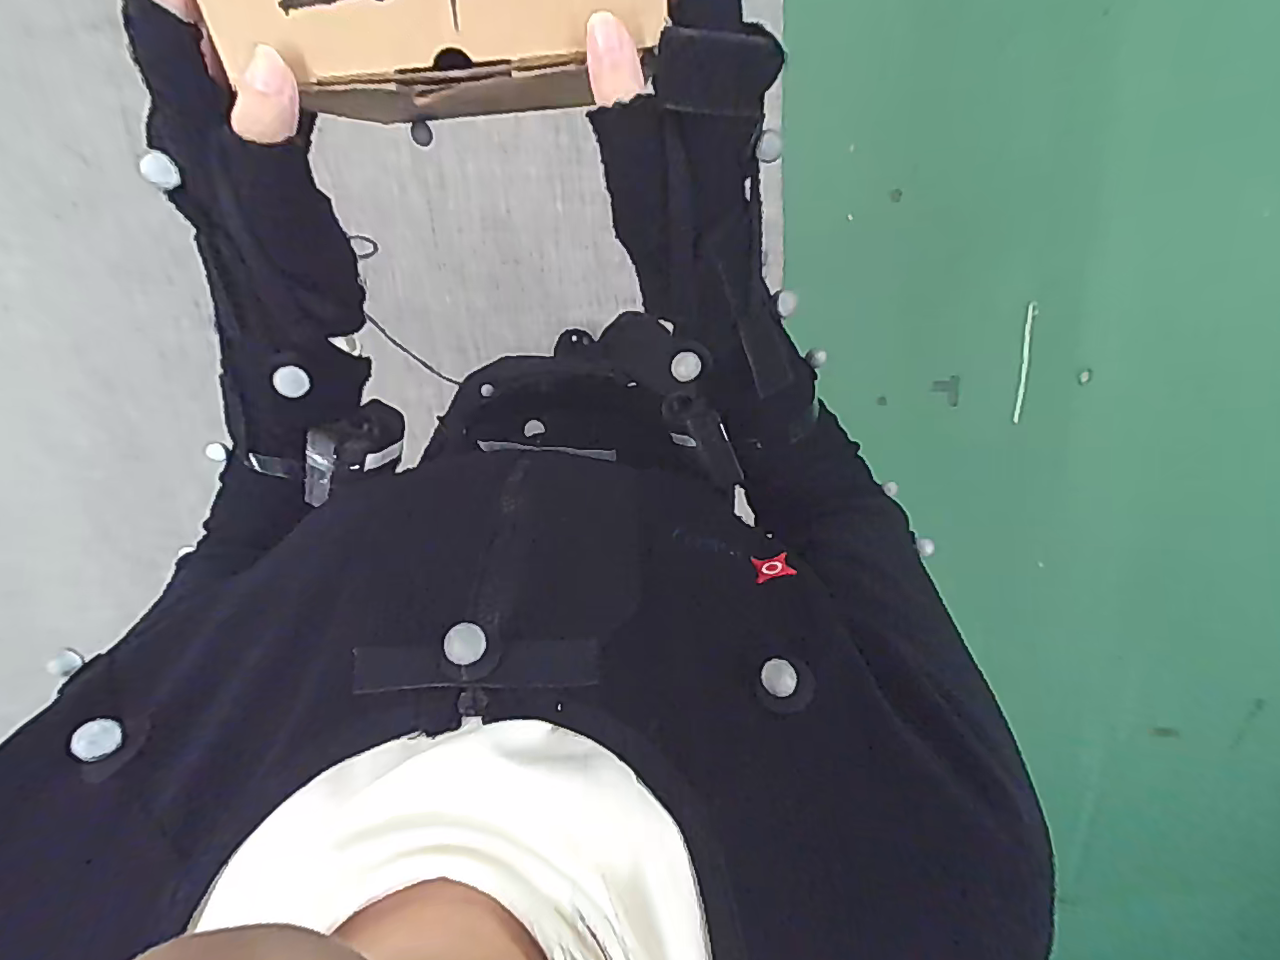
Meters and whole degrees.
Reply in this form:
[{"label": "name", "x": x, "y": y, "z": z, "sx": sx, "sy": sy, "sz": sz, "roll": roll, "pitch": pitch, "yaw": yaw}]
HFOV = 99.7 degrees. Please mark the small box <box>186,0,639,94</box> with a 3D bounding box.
[{"label": "small box", "x": -0.090, "y": -0.277, "z": 0.226, "sx": 0.168, "sy": 0.176, "sz": 0.179, "roll": -6, "pitch": 120, "yaw": -1}]
